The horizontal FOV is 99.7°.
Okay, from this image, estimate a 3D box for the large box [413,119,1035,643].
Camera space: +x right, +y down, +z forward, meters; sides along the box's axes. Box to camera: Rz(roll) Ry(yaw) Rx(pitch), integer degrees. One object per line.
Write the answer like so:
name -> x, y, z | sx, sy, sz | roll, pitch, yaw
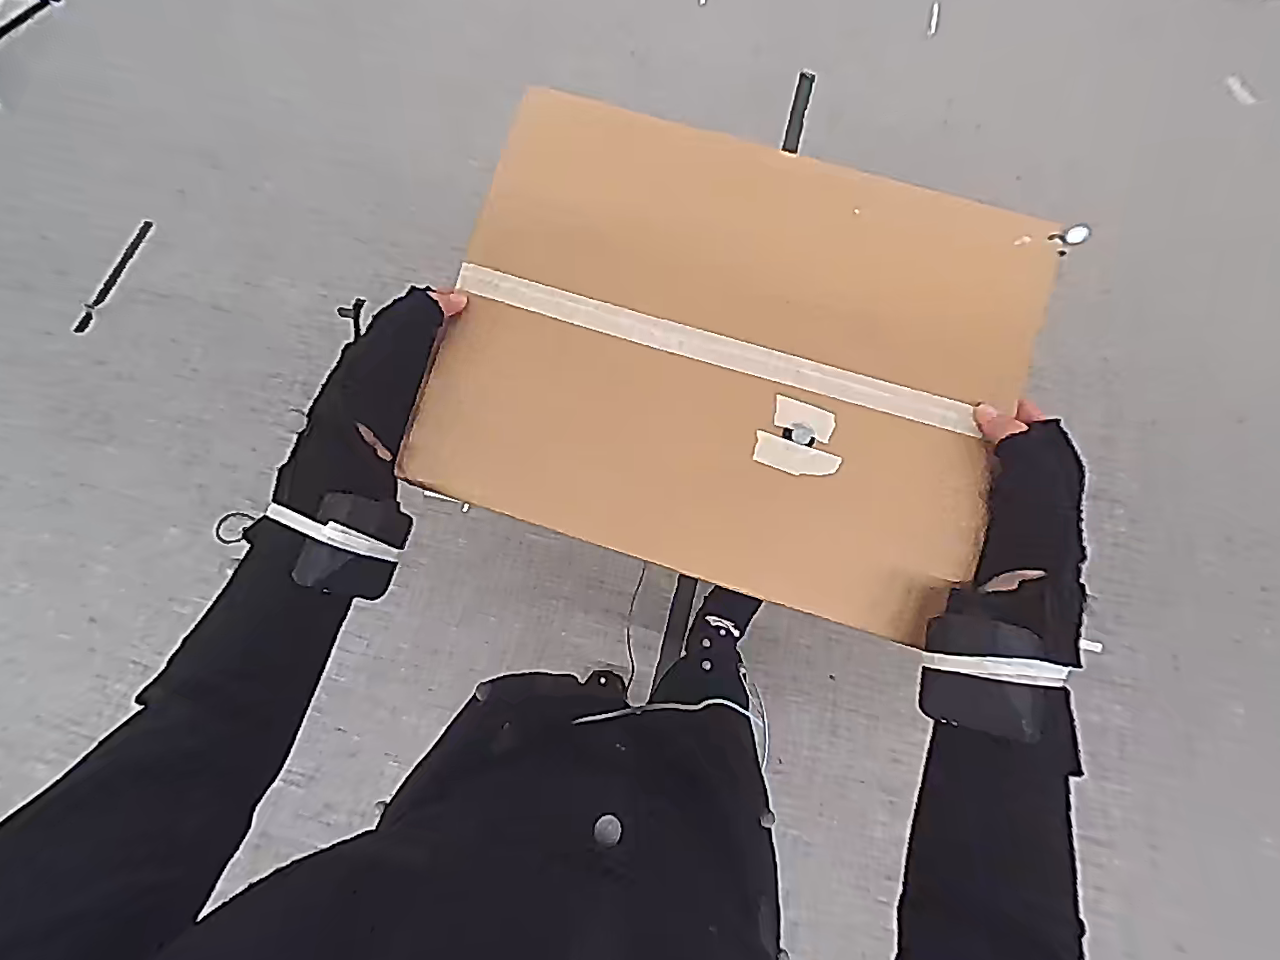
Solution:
large box -> 0.065, -0.071, 0.547 | 0.408, 0.320, 0.320 | 17, 87, 3
